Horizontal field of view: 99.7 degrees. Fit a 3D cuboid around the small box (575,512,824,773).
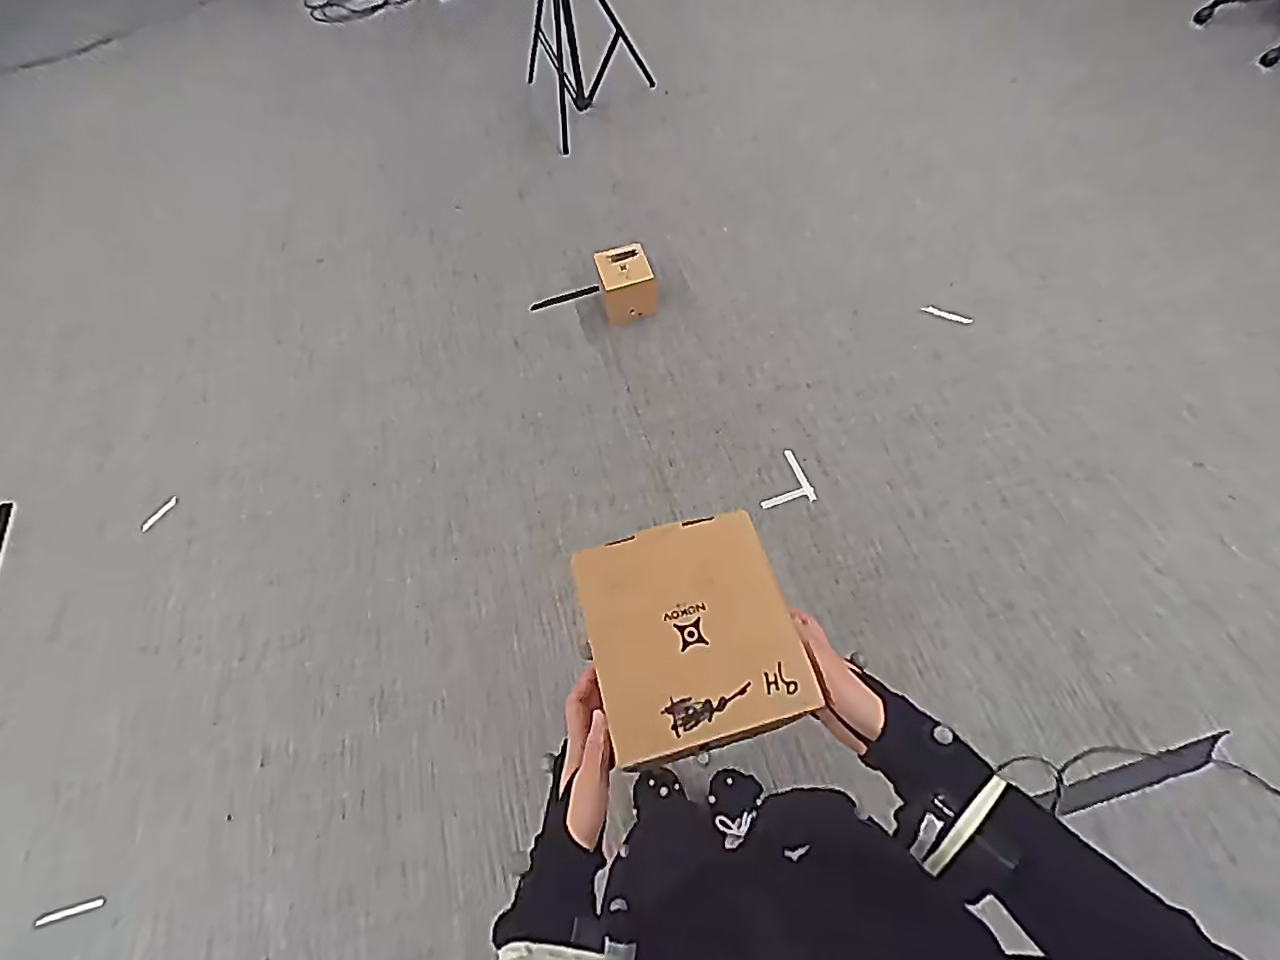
[{"bbox_3d":[0.042,0.158,0.509,0.168,0.176,0.179,-14,61,-6],"label":"small box"}]
